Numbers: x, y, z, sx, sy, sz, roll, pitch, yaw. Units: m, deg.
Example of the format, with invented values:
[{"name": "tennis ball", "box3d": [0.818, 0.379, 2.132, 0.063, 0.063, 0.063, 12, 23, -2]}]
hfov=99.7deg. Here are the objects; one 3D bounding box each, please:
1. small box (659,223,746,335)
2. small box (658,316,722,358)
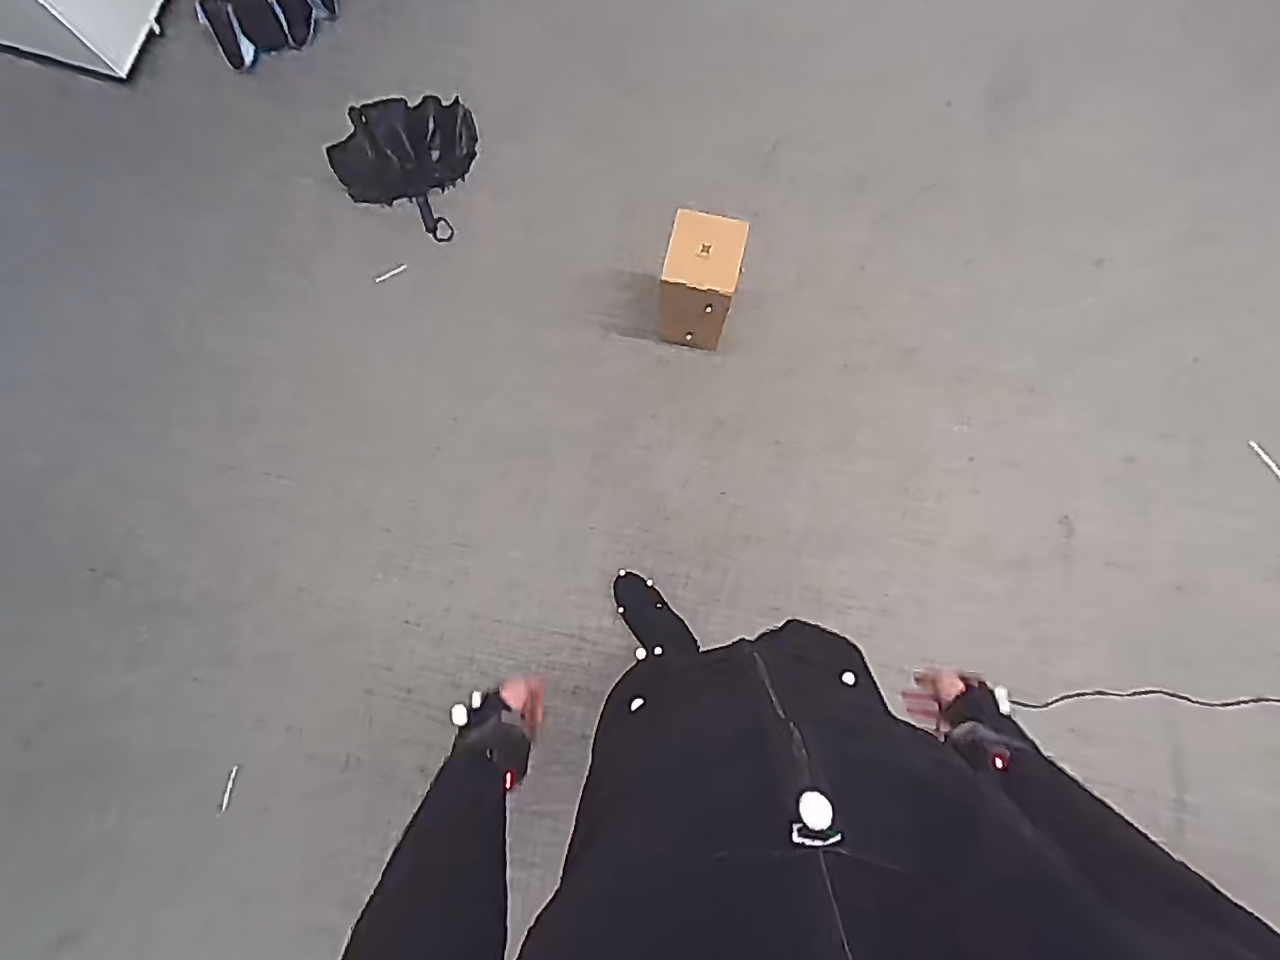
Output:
[{"name": "small box", "box3d": [0.141, -0.466, 1.278, 0.168, 0.176, 0.179, 12, 81, 2]}, {"name": "small box", "box3d": [0.145, -0.442, 1.439, 0.168, 0.176, 0.179, 12, 82, 3]}]
